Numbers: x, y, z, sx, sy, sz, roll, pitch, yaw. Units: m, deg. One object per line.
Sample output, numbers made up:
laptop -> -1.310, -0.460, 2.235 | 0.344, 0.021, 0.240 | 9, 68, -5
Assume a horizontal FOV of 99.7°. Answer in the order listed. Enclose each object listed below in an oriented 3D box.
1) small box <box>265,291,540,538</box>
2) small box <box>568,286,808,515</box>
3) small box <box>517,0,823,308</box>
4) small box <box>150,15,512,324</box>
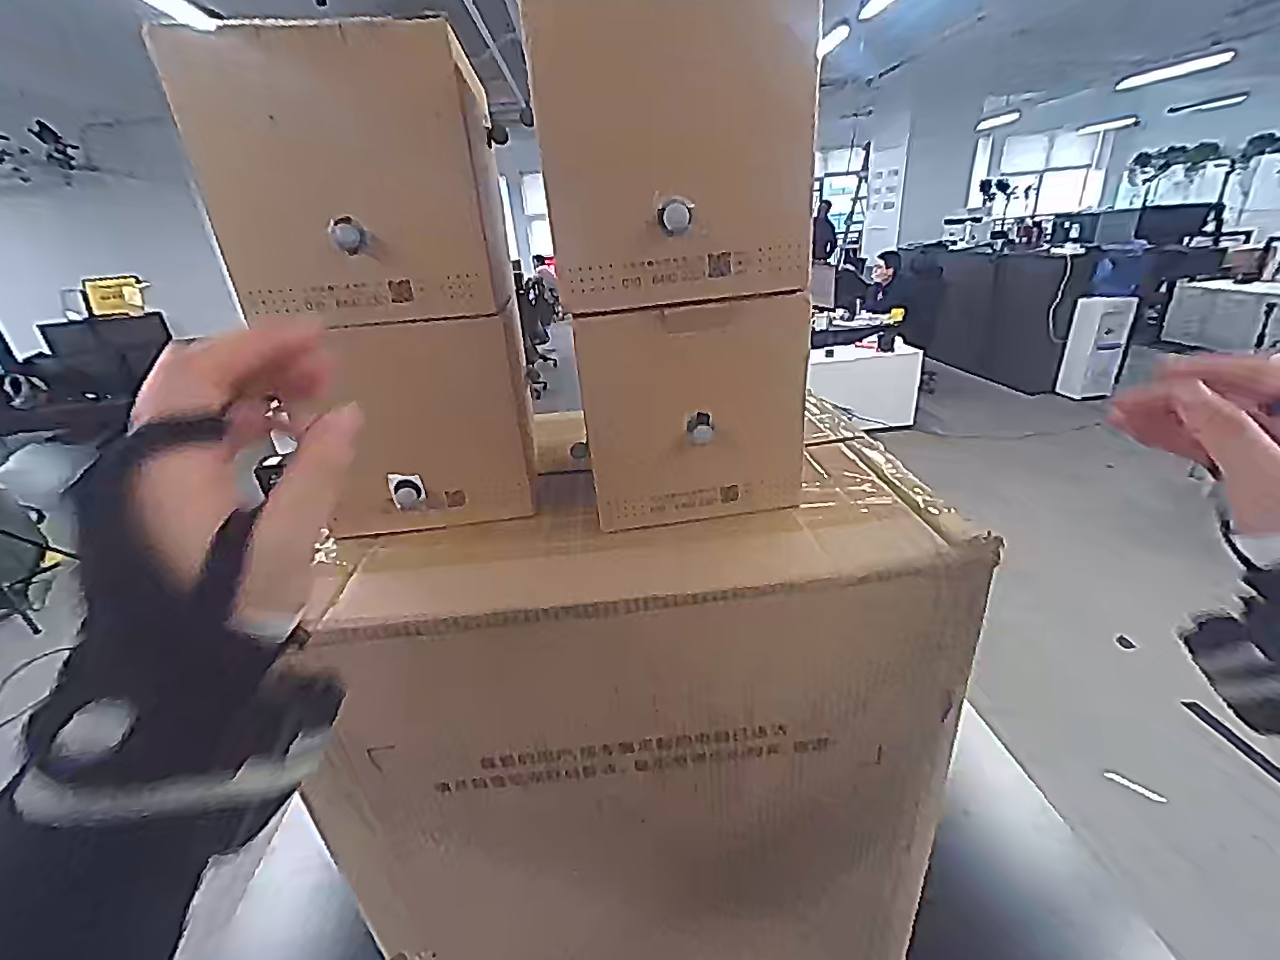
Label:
small box -> -0.184, -0.068, 0.483 | 0.168, 0.176, 0.179 | -8, 26, -7
small box -> 0.031, -0.079, 0.465 | 0.168, 0.176, 0.179 | -7, 26, -5
small box -> 0.015, -0.224, 0.389 | 0.168, 0.176, 0.179 | -7, 26, -3
small box -> -0.196, -0.217, 0.411 | 0.168, 0.176, 0.179 | -7, 25, -5
